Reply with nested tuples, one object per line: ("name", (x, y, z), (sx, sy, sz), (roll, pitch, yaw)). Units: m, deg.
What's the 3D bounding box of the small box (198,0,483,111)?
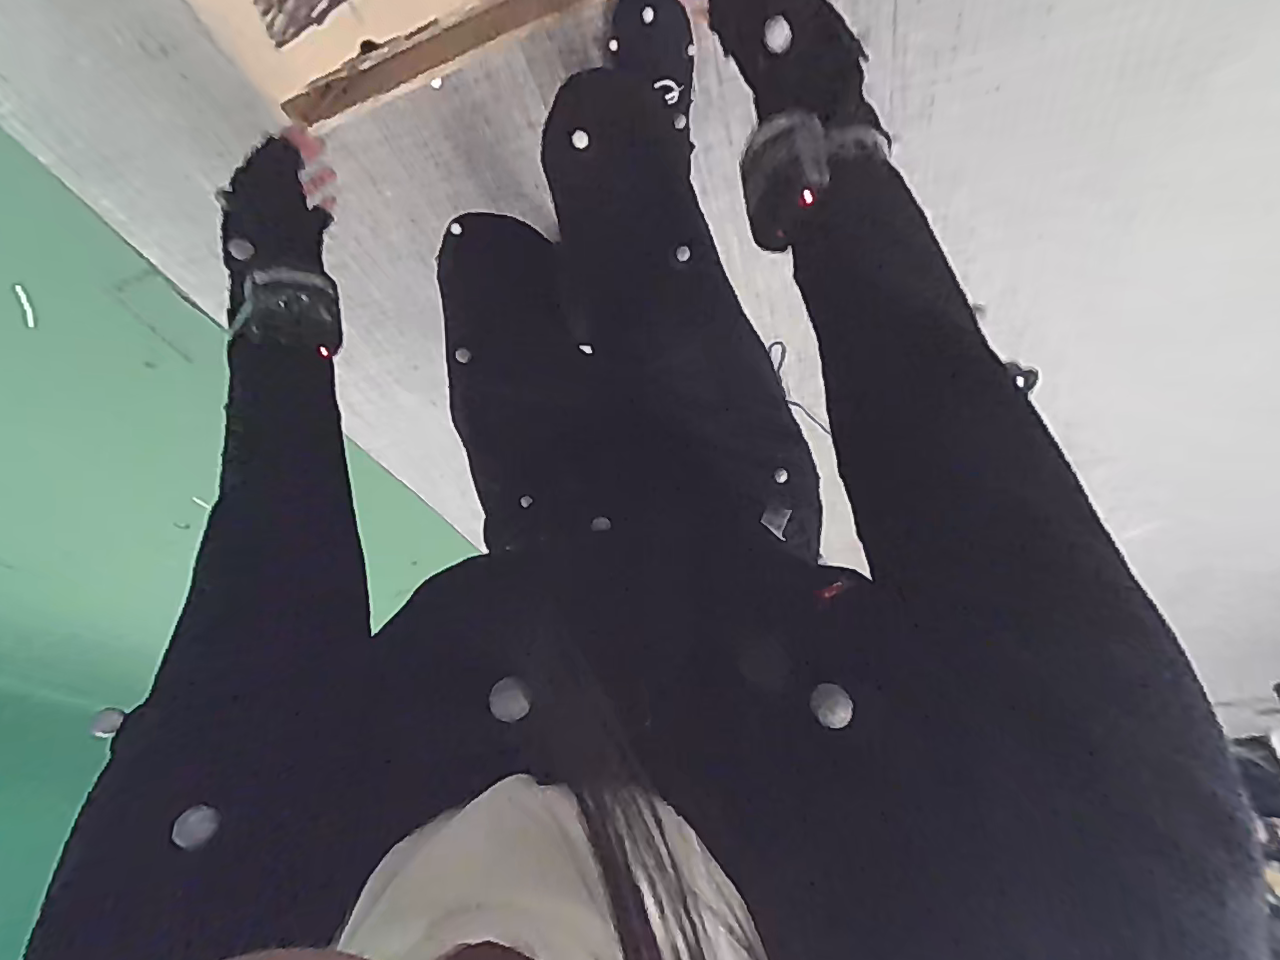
("small box", (-0.195, -0.381, 0.336), (0.168, 0.176, 0.179), (-12, 140, 16))
